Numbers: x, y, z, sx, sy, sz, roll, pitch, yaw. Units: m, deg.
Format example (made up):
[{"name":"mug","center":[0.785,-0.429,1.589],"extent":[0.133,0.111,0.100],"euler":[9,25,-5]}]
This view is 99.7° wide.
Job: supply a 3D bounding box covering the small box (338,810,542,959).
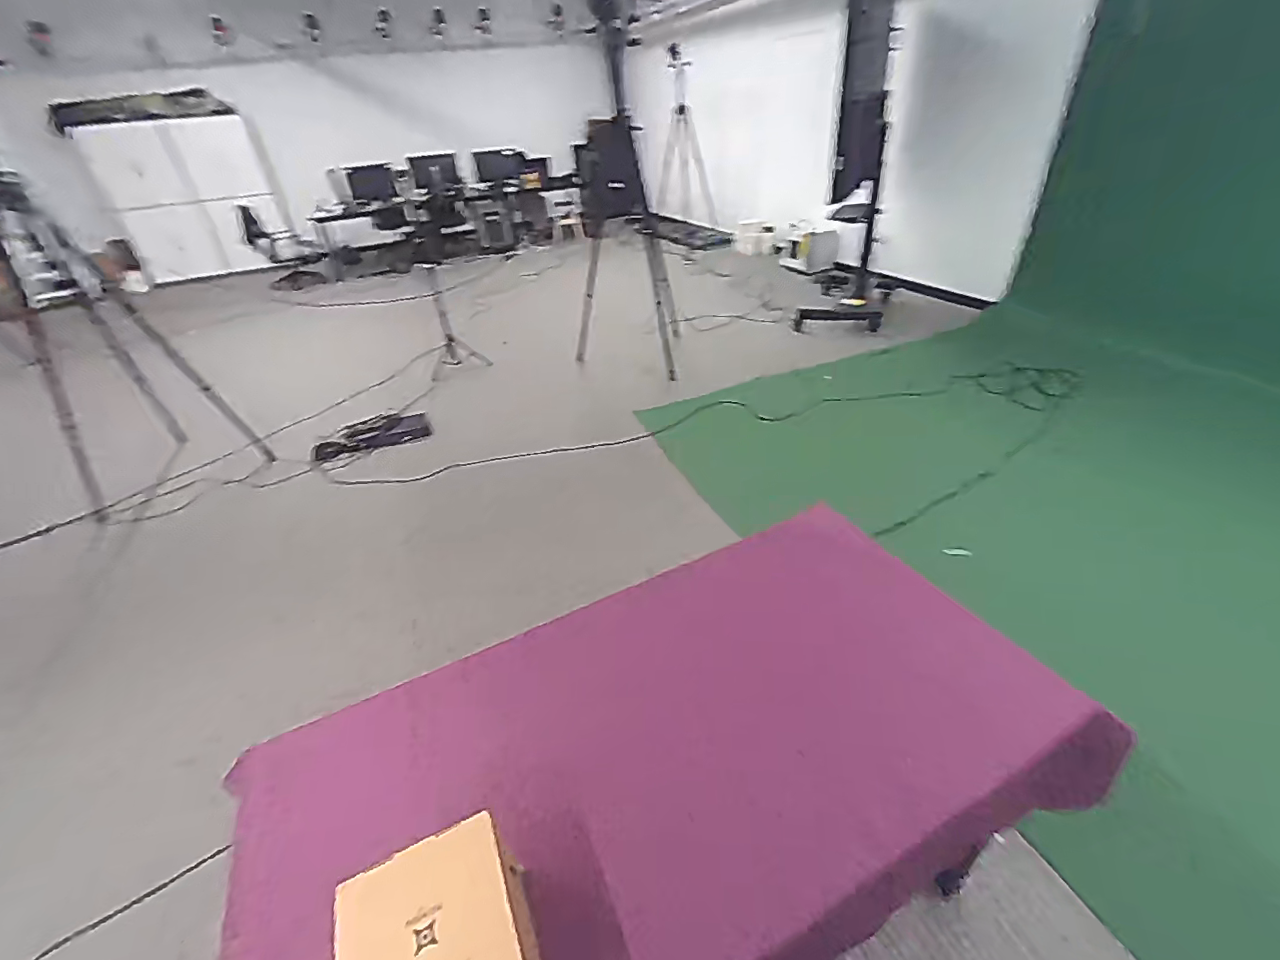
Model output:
[{"name":"small box","center":[-0.205,0.511,0.580],"extent":[0.168,0.176,0.179],"euler":[-20,37,-18]}]
